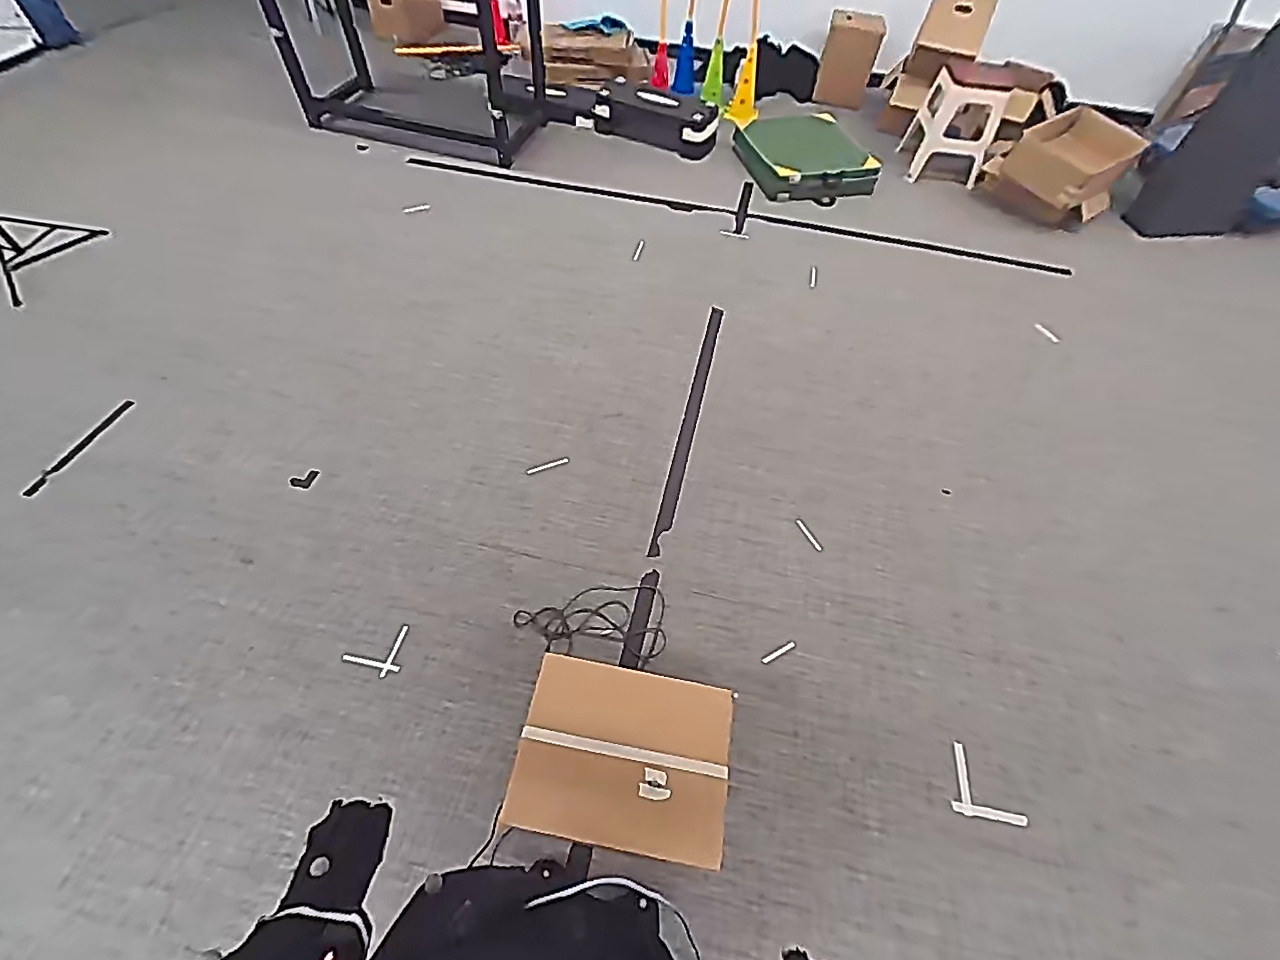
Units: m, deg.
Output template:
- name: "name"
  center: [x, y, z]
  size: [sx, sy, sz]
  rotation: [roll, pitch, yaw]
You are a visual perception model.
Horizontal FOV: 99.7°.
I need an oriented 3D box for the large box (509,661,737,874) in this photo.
- name: "large box"
  center: [-0.032, 0.624, 1.169]
  size: [0.408, 0.320, 0.320]
  rotation: [12, 56, 2]
